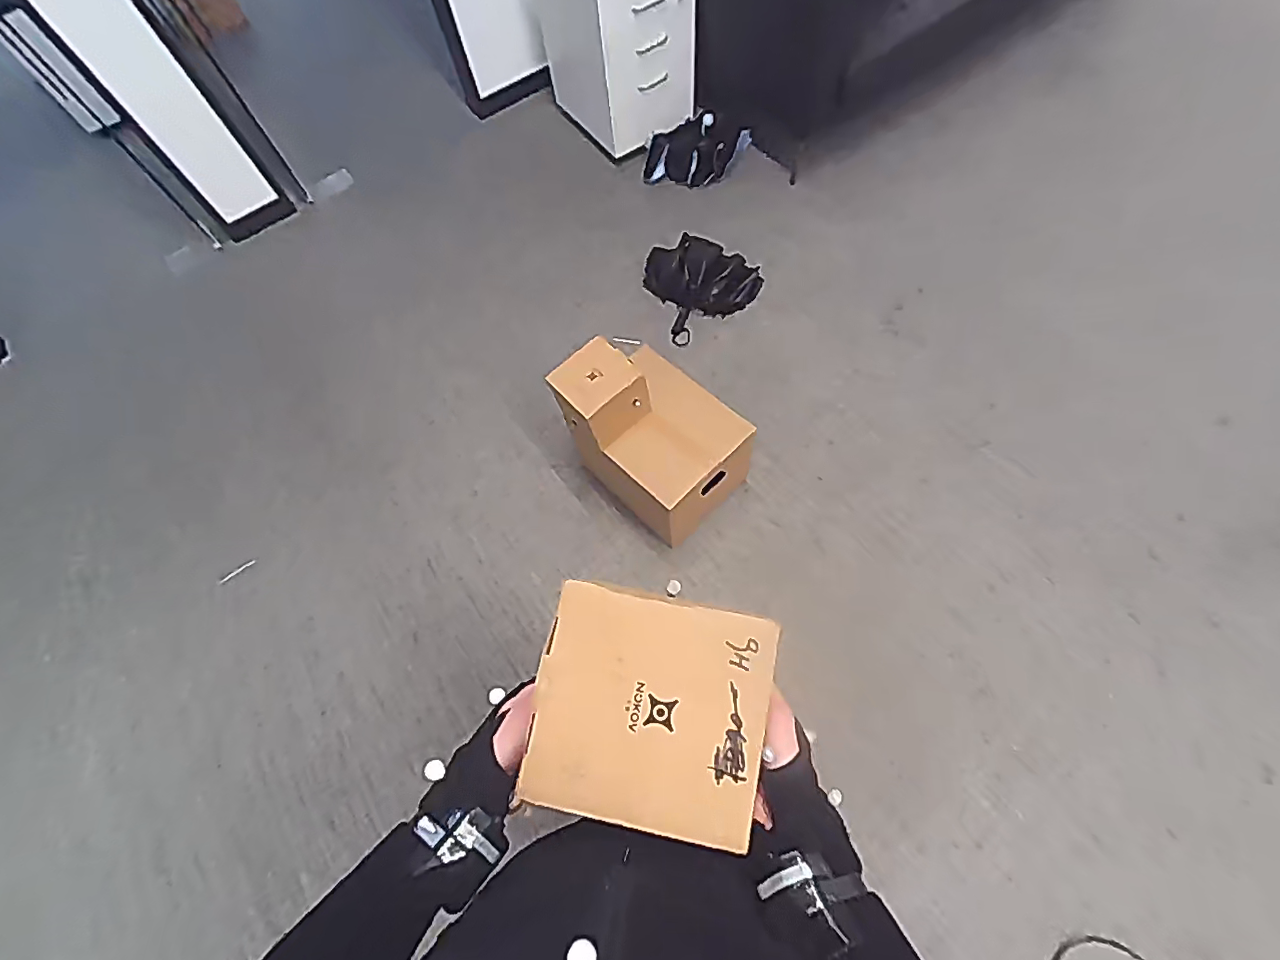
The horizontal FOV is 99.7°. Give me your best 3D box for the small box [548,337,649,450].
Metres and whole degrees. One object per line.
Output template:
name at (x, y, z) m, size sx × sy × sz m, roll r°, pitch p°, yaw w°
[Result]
small box at (-0.093, -0.208, 1.336) m, size 0.179 × 0.176 × 0.168 m, roll -42°, pitch 67°, yaw -9°
